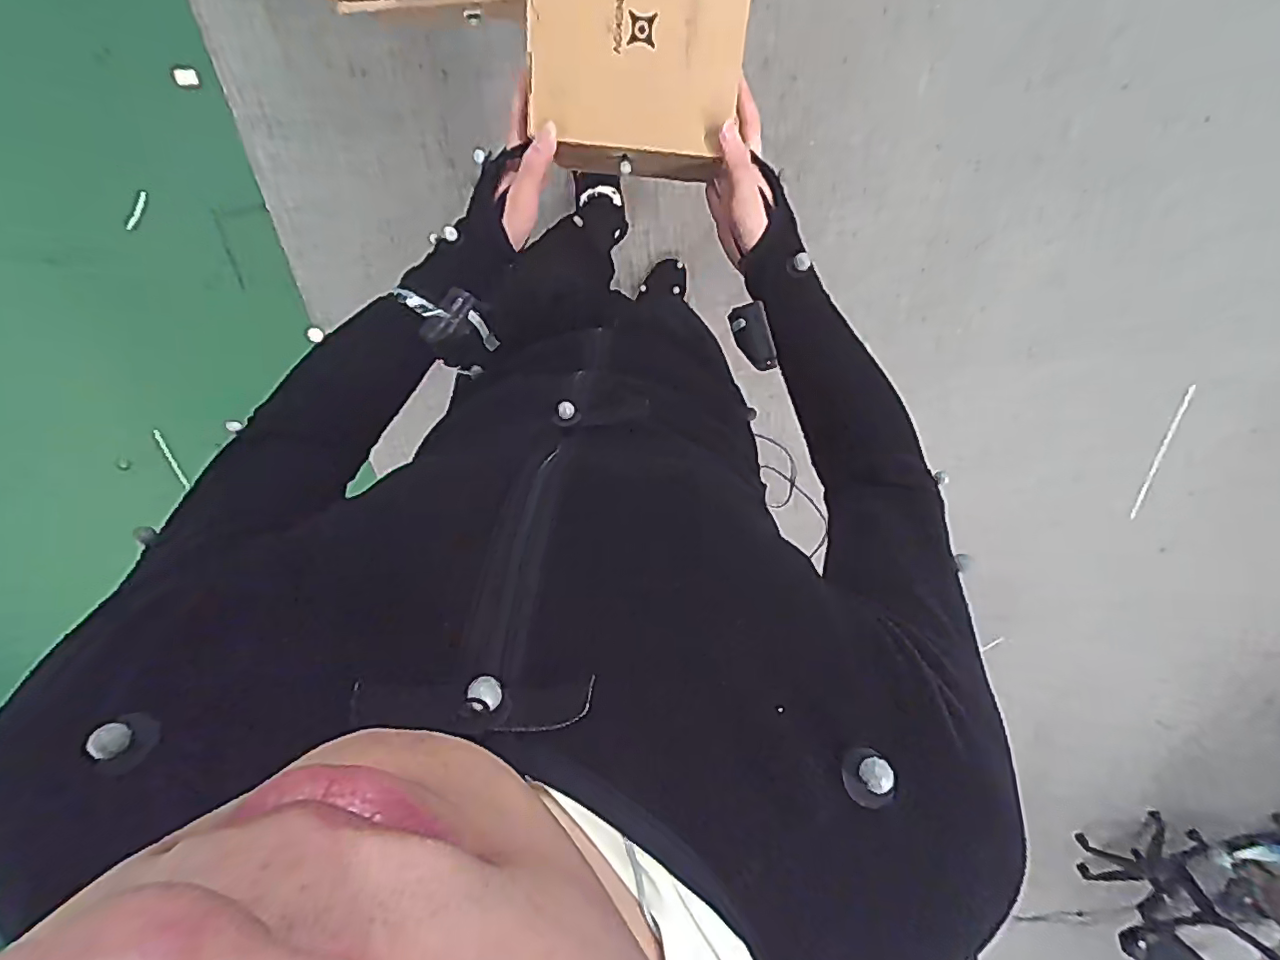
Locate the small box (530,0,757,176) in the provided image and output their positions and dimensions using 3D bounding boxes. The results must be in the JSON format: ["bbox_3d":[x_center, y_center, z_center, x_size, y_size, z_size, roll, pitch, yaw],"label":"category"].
[{"bbox_3d":[0.005,-0.389,0.498,0.179,0.176,0.168,6,113,0],"label":"small box"}]

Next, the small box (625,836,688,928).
[{"bbox_3d":[0.046,1.142,1.544,0.168,0.176,0.179,-5,123,4],"label":"small box"}]
